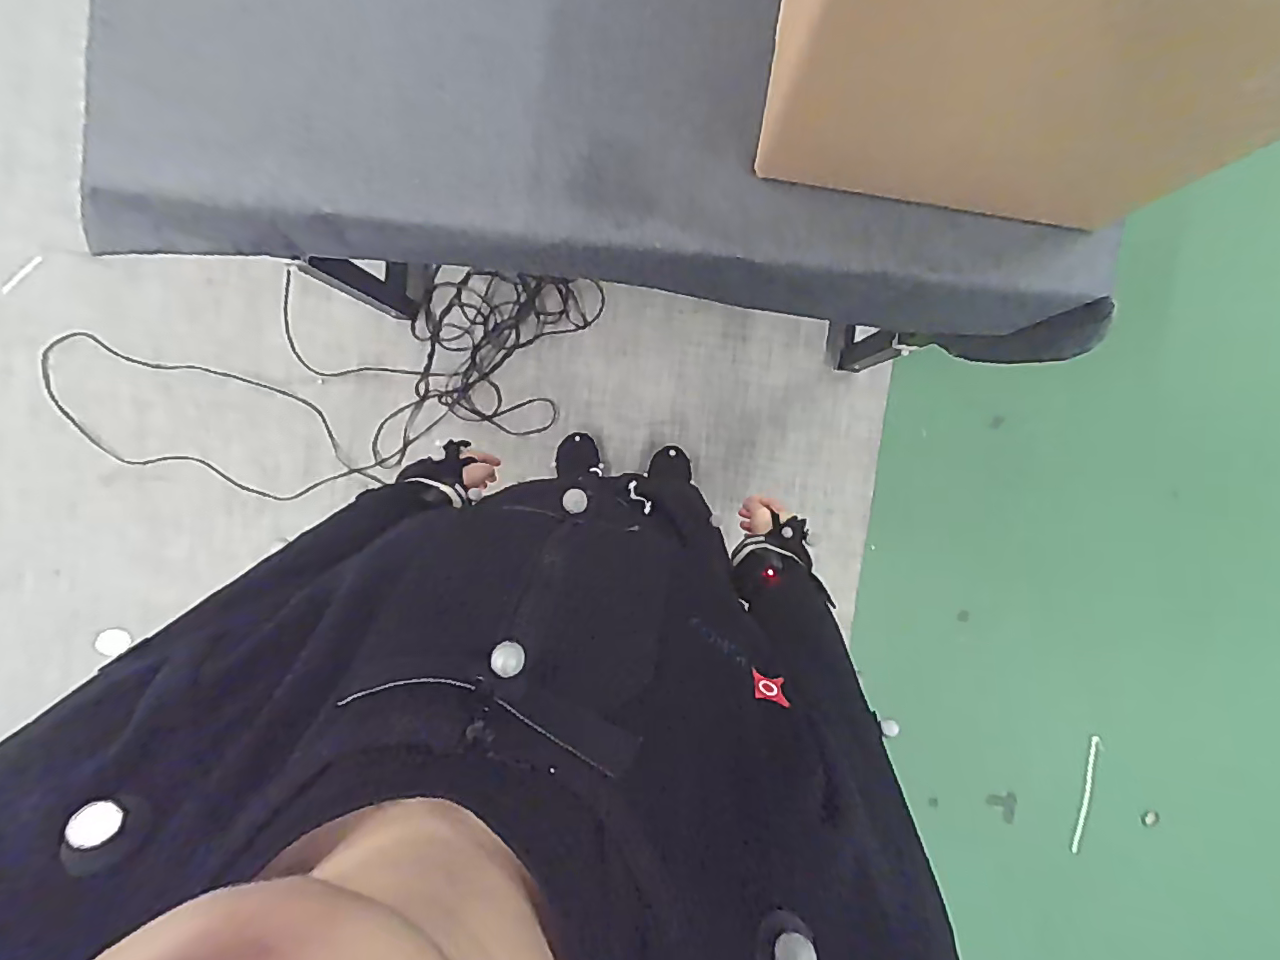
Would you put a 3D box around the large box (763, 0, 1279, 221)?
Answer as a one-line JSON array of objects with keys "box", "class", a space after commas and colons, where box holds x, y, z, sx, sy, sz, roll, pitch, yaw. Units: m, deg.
[{"box": [0.352, -0.463, 0.465, 0.408, 0.320, 0.320, 9, 93, -1], "class": "large box"}]
